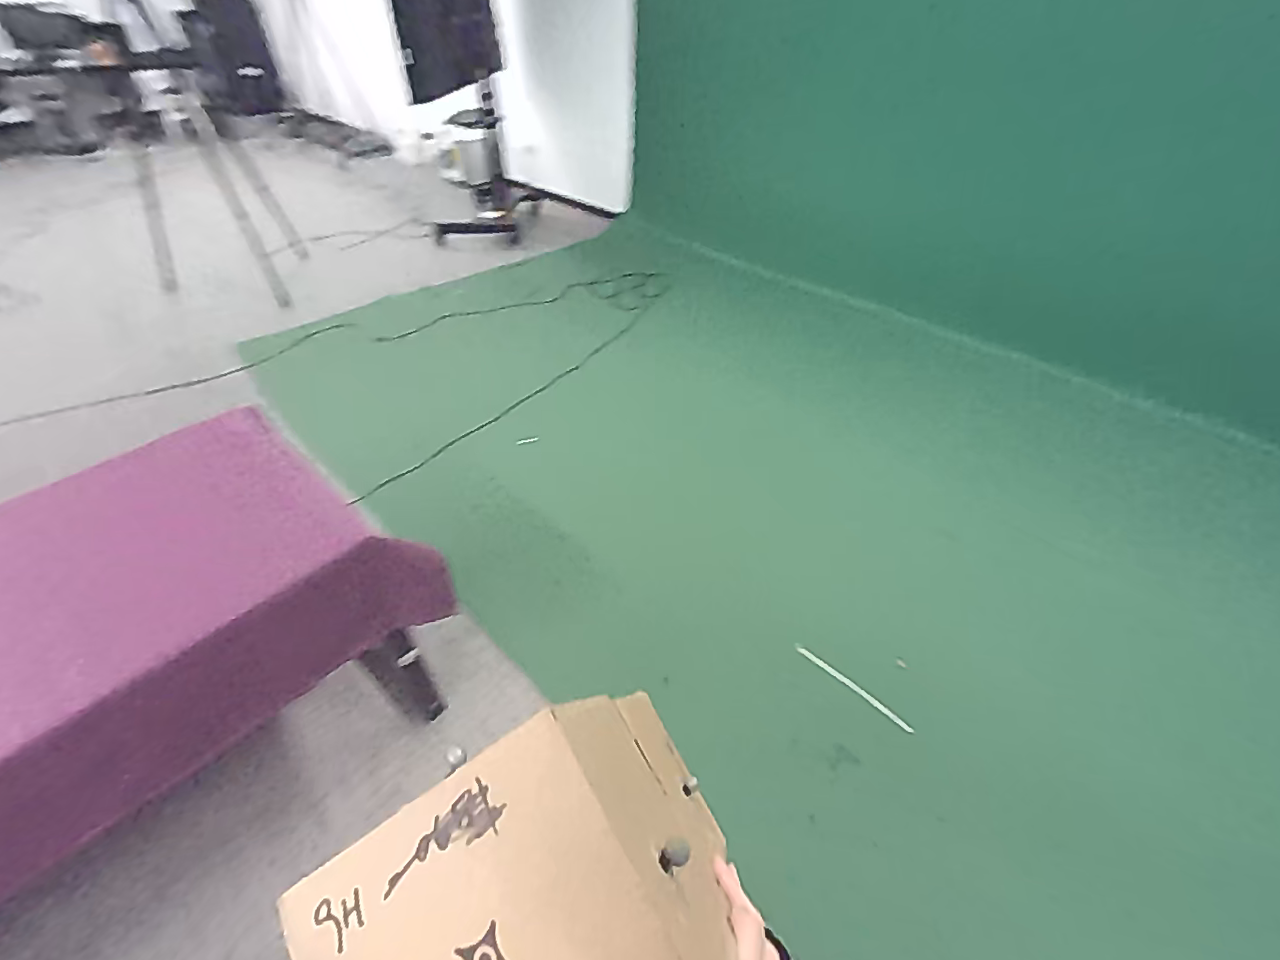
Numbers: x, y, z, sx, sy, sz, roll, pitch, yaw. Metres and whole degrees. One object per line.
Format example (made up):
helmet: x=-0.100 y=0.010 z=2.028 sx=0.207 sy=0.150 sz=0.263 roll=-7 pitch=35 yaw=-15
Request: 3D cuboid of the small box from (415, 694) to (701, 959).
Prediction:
small box: x=-0.057 y=0.312 z=0.482 sx=0.179 sy=0.176 sz=0.168 roll=-31 pitch=71 yaw=-5
